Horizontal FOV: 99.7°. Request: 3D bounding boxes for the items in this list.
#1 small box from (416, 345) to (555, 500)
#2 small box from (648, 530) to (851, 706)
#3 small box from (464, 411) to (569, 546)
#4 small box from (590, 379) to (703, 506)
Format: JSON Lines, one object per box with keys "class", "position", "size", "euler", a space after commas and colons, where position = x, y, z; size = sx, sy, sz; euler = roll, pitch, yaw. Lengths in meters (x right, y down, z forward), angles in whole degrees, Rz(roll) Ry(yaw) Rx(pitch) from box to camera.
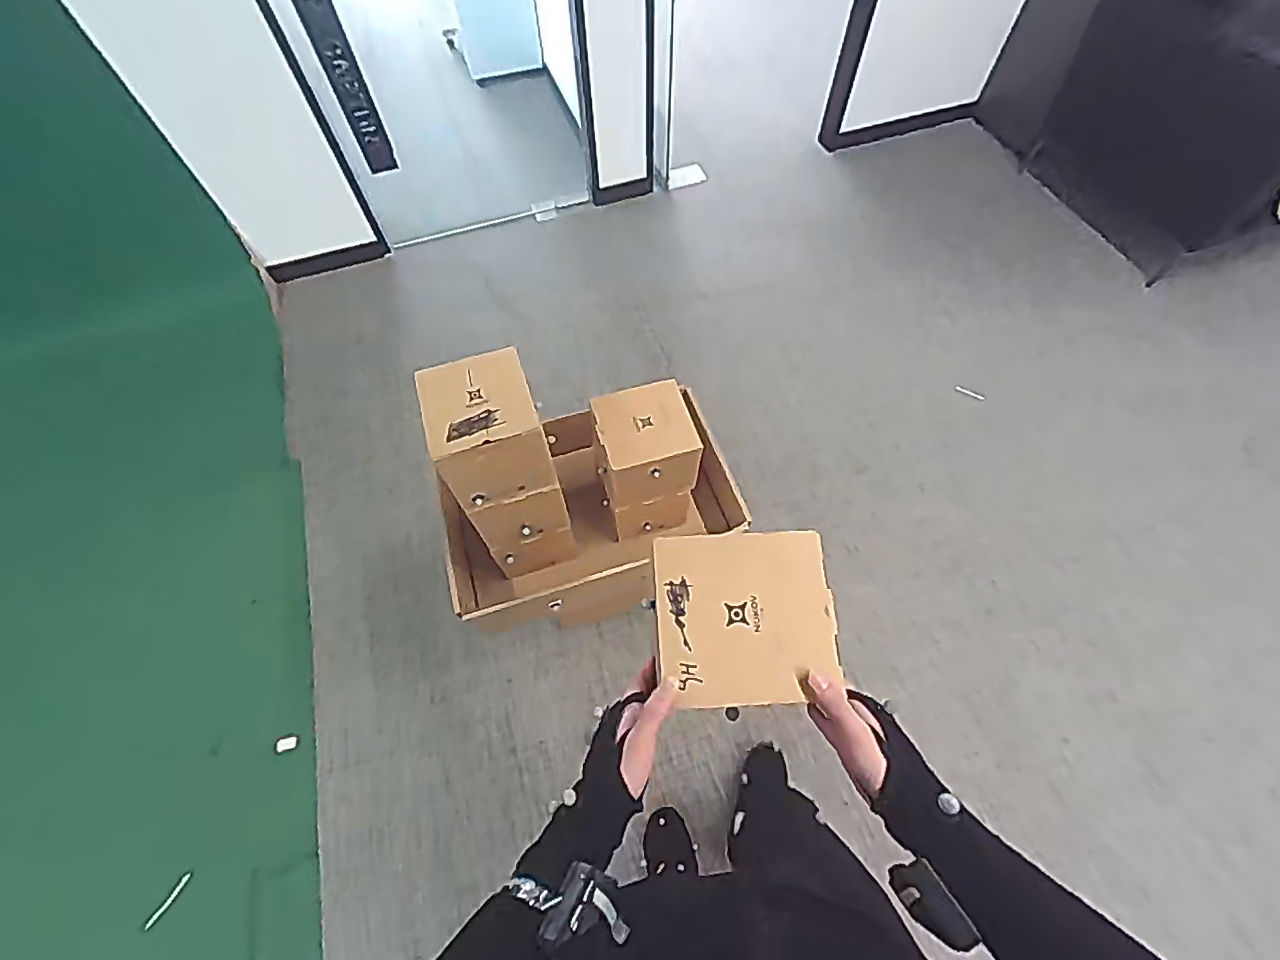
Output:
{"class": "small box", "position": [-0.245, -0.084, 0.883], "size": [0.168, 0.176, 0.179], "euler": [-17, 61, -9]}
{"class": "small box", "position": [0.103, 0.156, 0.597], "size": [0.179, 0.176, 0.168], "euler": [-1, 68, -3]}
{"class": "small box", "position": [-0.239, 0.001, 1.024], "size": [0.168, 0.176, 0.179], "euler": [-16, 62, -8]}
{"class": "small box", "position": [0.010, -0.068, 1.064], "size": [0.179, 0.176, 0.168], "euler": [-14, 63, -8]}
